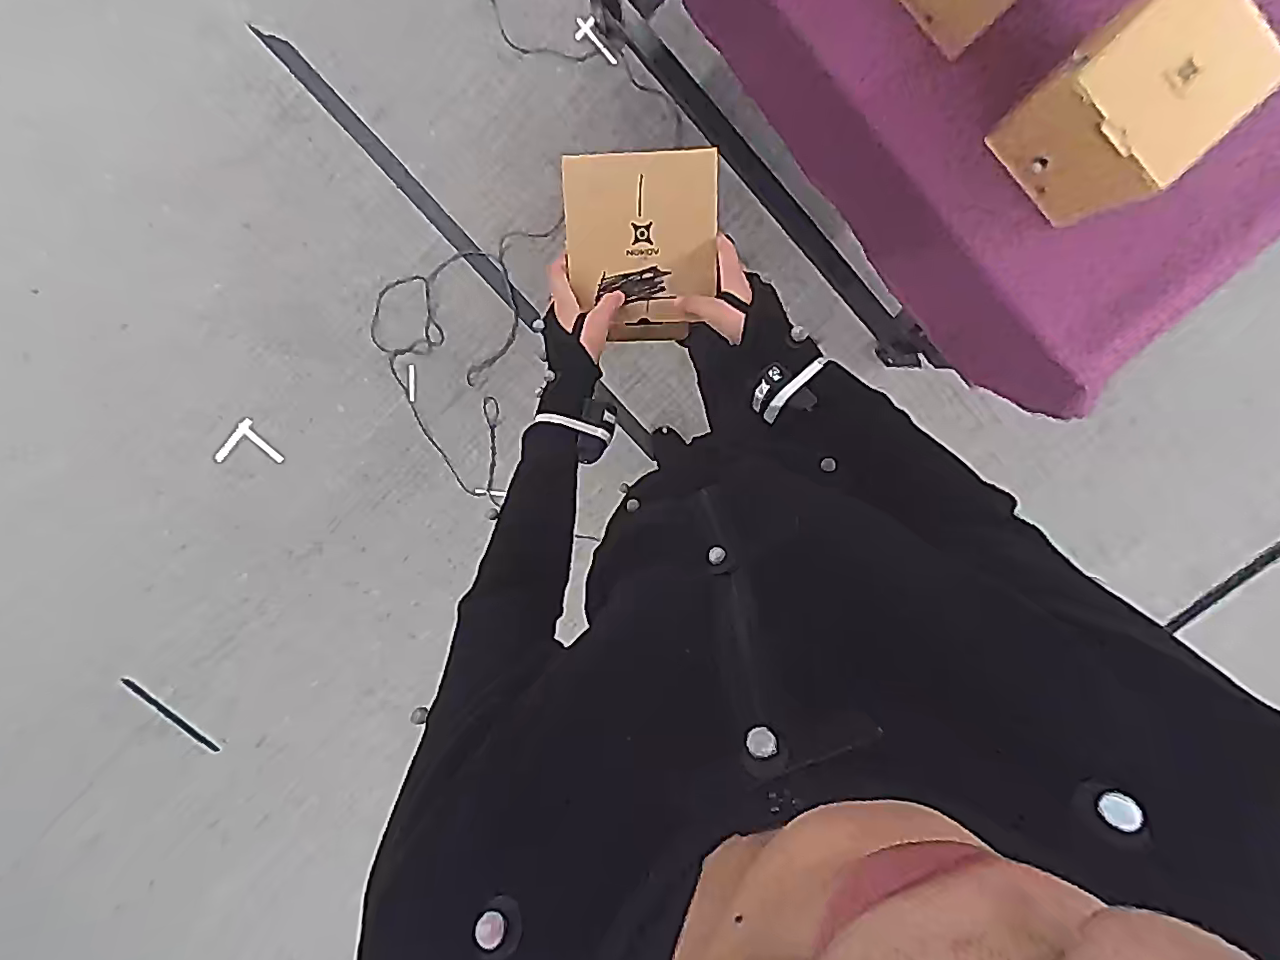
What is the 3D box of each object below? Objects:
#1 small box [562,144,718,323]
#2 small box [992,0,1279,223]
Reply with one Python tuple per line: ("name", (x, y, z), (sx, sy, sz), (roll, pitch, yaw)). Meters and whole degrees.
("small box", (0.003, -0.290, 0.663), (0.168, 0.176, 0.179), (-1, 108, 2))
("small box", (0.597, -0.459, 0.671), (0.168, 0.176, 0.179), (44, 100, -8))
